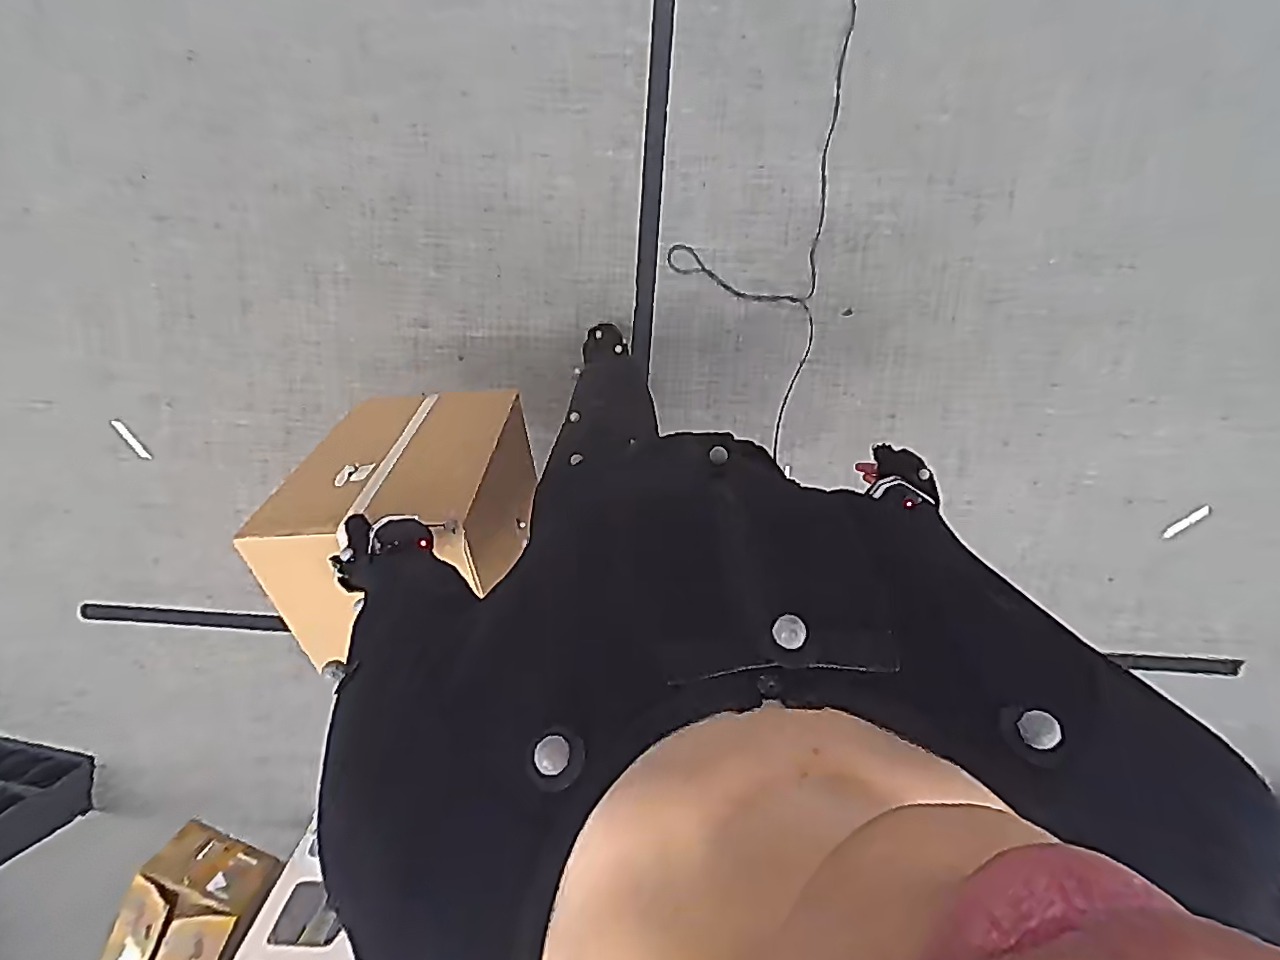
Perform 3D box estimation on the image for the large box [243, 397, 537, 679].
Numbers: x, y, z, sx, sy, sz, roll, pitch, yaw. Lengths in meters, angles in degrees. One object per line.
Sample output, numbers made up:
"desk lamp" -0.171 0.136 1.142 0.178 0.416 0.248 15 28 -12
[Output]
"large box" -0.380 0.086 0.966 0.320 0.408 0.320 -5 125 2
